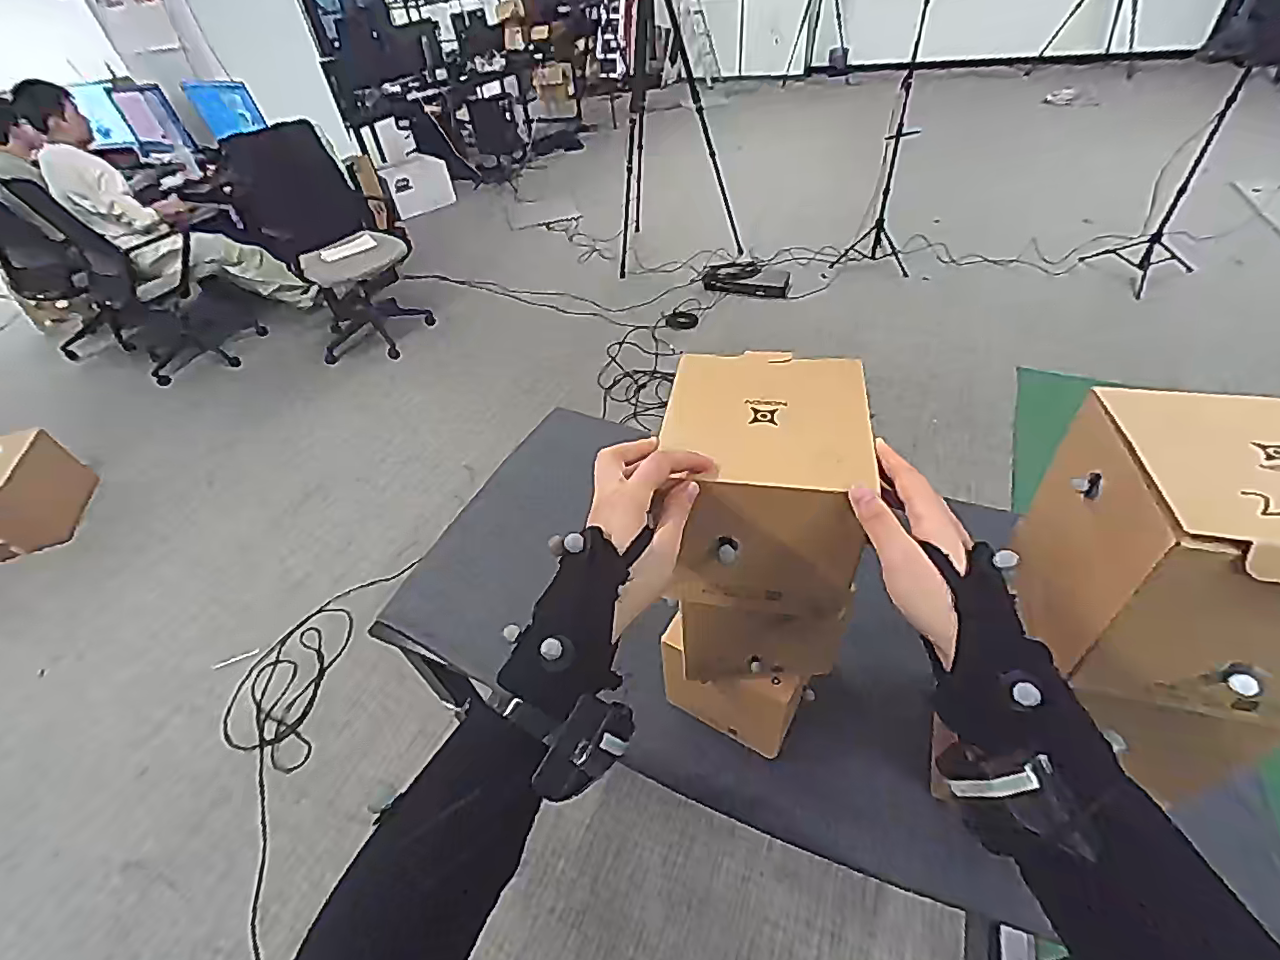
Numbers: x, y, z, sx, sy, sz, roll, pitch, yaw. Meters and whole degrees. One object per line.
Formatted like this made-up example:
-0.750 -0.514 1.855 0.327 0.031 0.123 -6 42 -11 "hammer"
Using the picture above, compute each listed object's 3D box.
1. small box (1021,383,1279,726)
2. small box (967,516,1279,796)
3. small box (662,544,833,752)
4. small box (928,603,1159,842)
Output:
0.418 0.049 0.404 0.168 0.176 0.179 7 43 17 "small box"
0.434 0.165 0.523 0.168 0.176 0.179 10 46 19 "small box"
0.142 0.225 0.735 0.168 0.176 0.179 20 49 26 "small box"
0.450 0.282 0.634 0.168 0.176 0.179 13 45 21 "small box"
